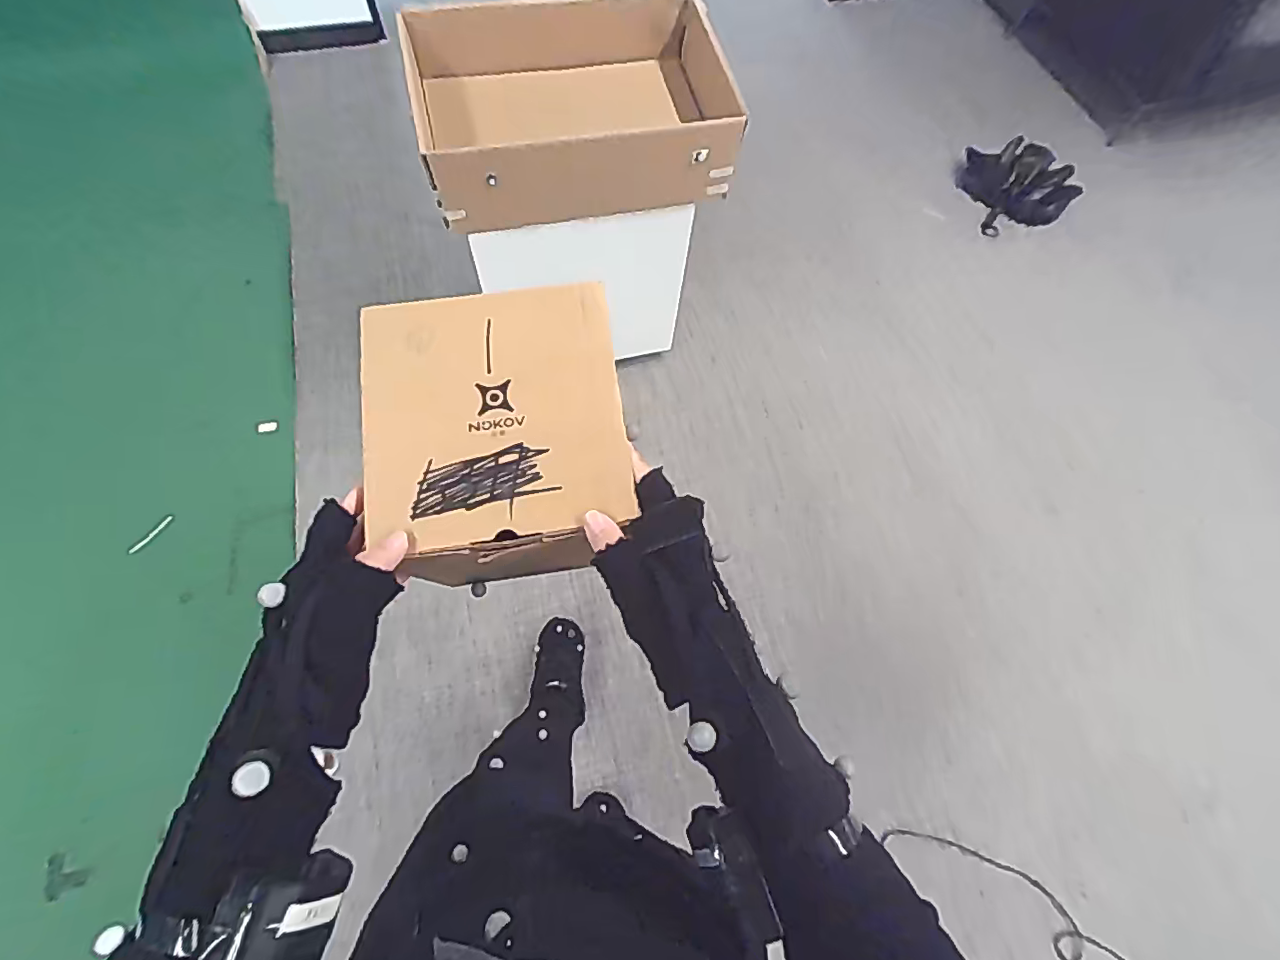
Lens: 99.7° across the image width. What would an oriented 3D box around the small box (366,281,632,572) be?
[{"bbox_3d":[-0.097,-0.026,0.432,0.168,0.176,0.179,-8,74,-4],"label":"small box"}]
